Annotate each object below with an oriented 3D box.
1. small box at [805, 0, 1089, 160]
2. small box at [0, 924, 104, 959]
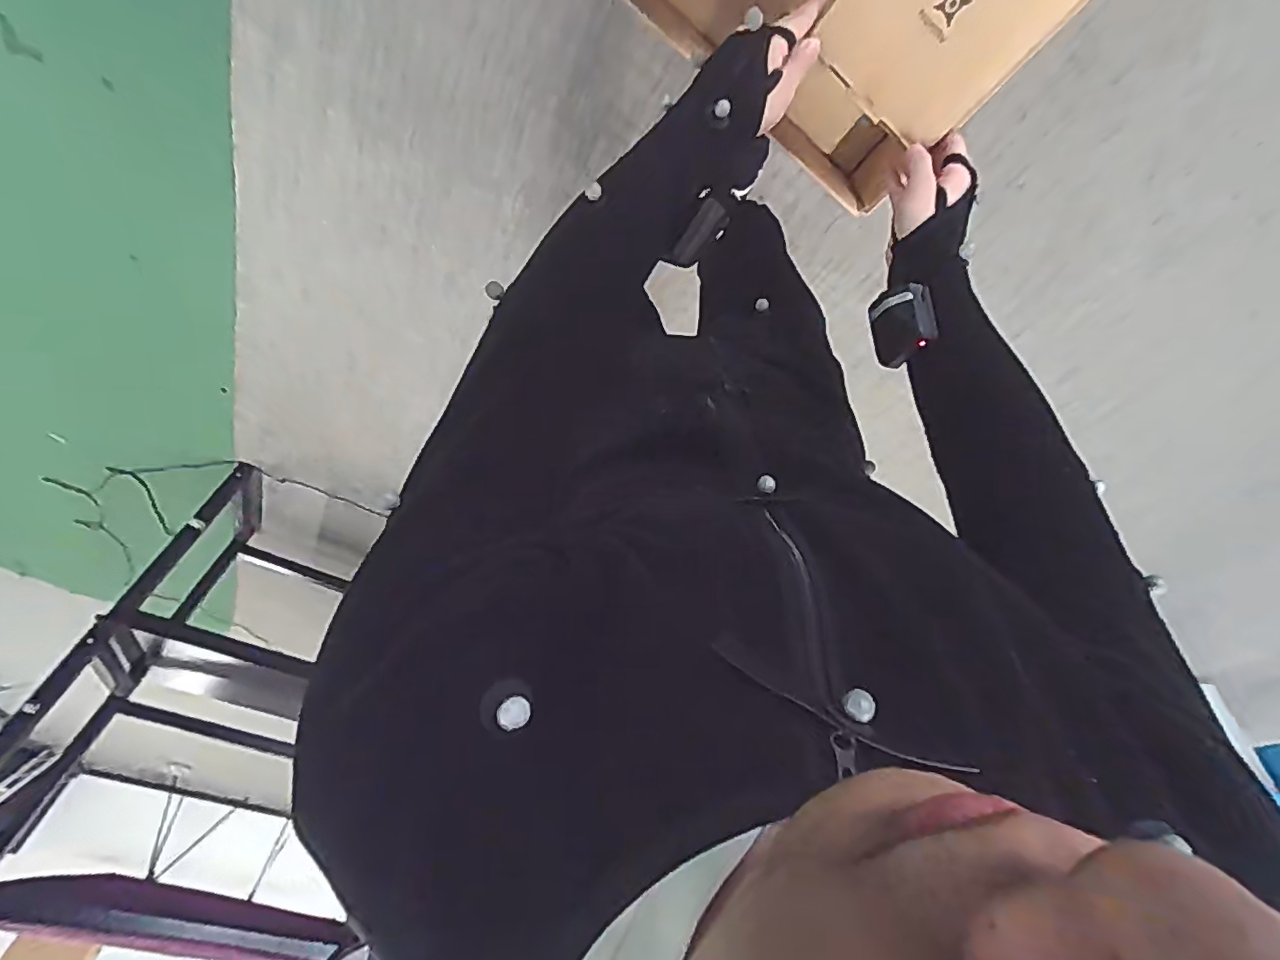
[{"bbox_3d":[0.276,-0.460,0.517,0.168,0.176,0.179,29,133,-22],"label":"small box"},{"bbox_3d":[-1.557,1.282,1.406,0.179,0.176,0.168,26,136,-16],"label":"small box"}]
